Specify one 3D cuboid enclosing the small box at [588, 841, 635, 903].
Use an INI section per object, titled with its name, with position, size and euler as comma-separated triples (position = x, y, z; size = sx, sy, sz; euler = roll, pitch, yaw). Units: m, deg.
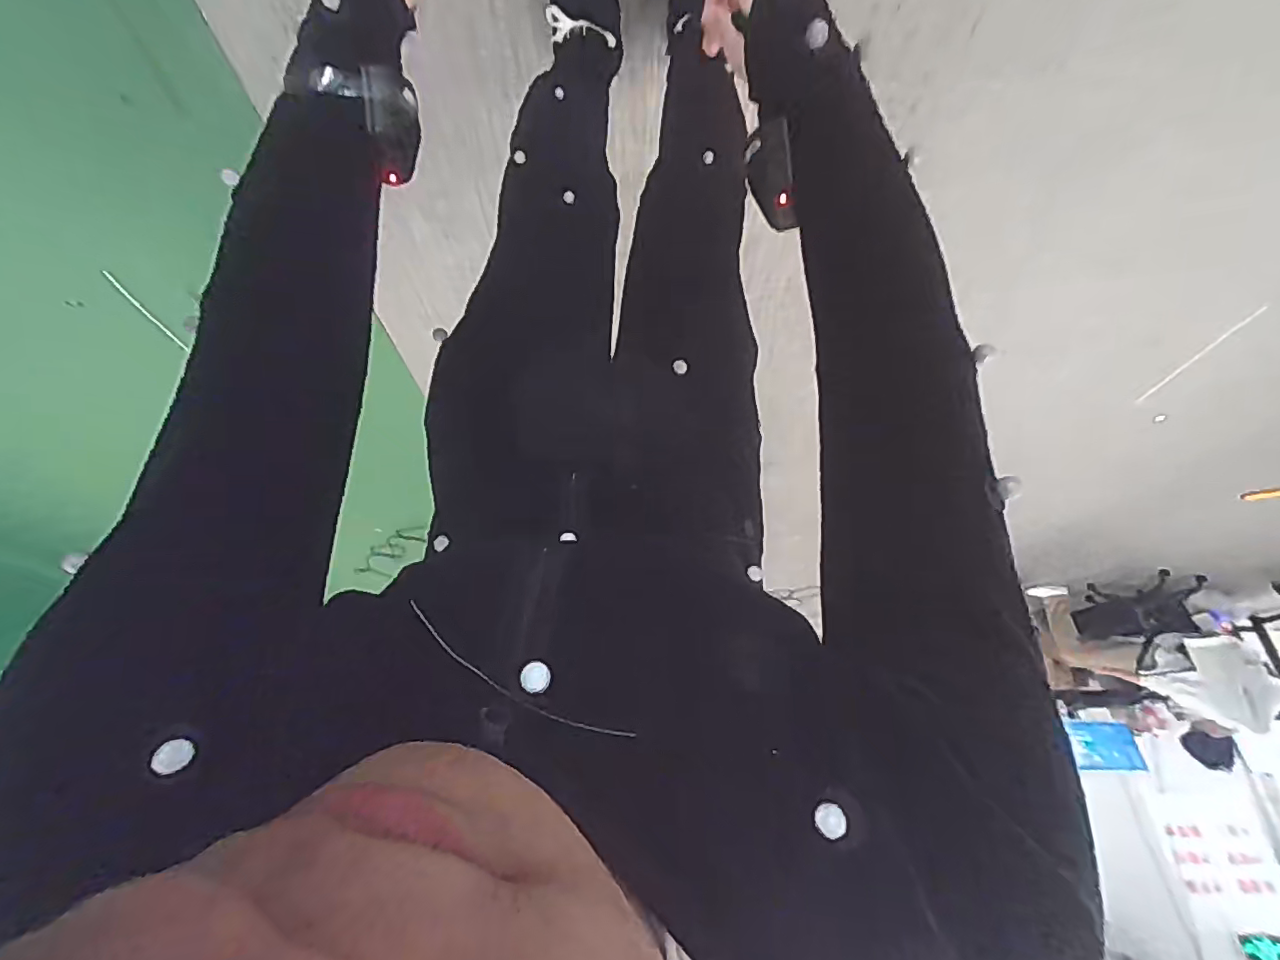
[small box]
position = -0.106, 1.520, 2.105
size = 0.179, 0.176, 0.168
euler = 1, 154, 1
